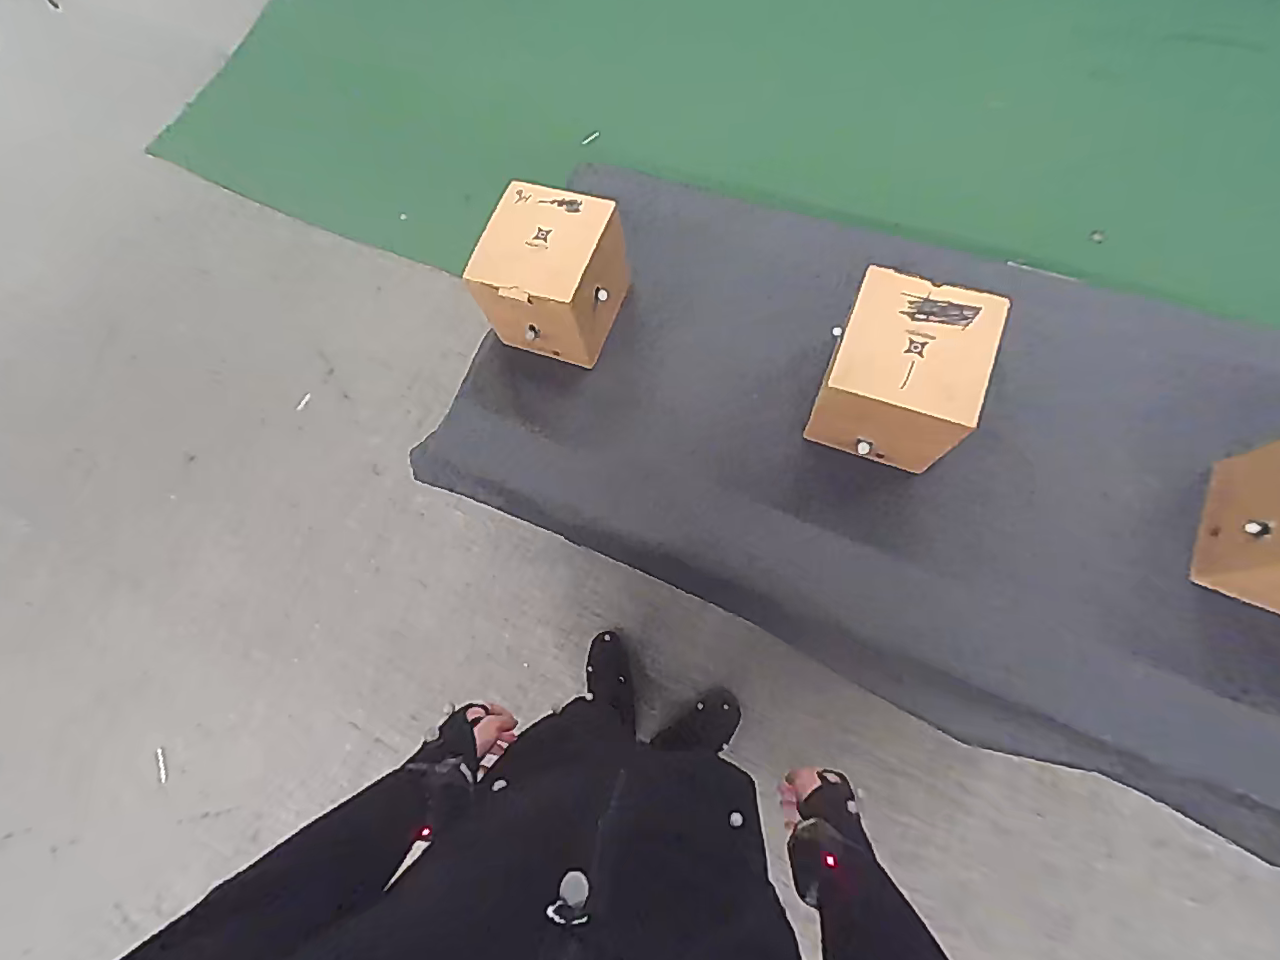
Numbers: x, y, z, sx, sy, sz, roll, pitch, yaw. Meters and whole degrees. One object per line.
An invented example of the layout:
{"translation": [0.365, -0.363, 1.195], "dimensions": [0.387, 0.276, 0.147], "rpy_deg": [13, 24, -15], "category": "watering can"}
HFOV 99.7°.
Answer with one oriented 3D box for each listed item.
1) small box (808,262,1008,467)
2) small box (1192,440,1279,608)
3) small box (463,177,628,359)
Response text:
{"translation": [0.330, -0.140, 0.700], "dimensions": [0.168, 0.176, 0.179], "rpy_deg": [20, 78, 13], "category": "small box"}
{"translation": [0.768, 0.055, 0.581], "dimensions": [0.179, 0.176, 0.168], "rpy_deg": [23, 79, 13], "category": "small box"}
{"translation": [-0.127, -0.307, 0.812], "dimensions": [0.168, 0.176, 0.179], "rpy_deg": [18, 77, 12], "category": "small box"}
